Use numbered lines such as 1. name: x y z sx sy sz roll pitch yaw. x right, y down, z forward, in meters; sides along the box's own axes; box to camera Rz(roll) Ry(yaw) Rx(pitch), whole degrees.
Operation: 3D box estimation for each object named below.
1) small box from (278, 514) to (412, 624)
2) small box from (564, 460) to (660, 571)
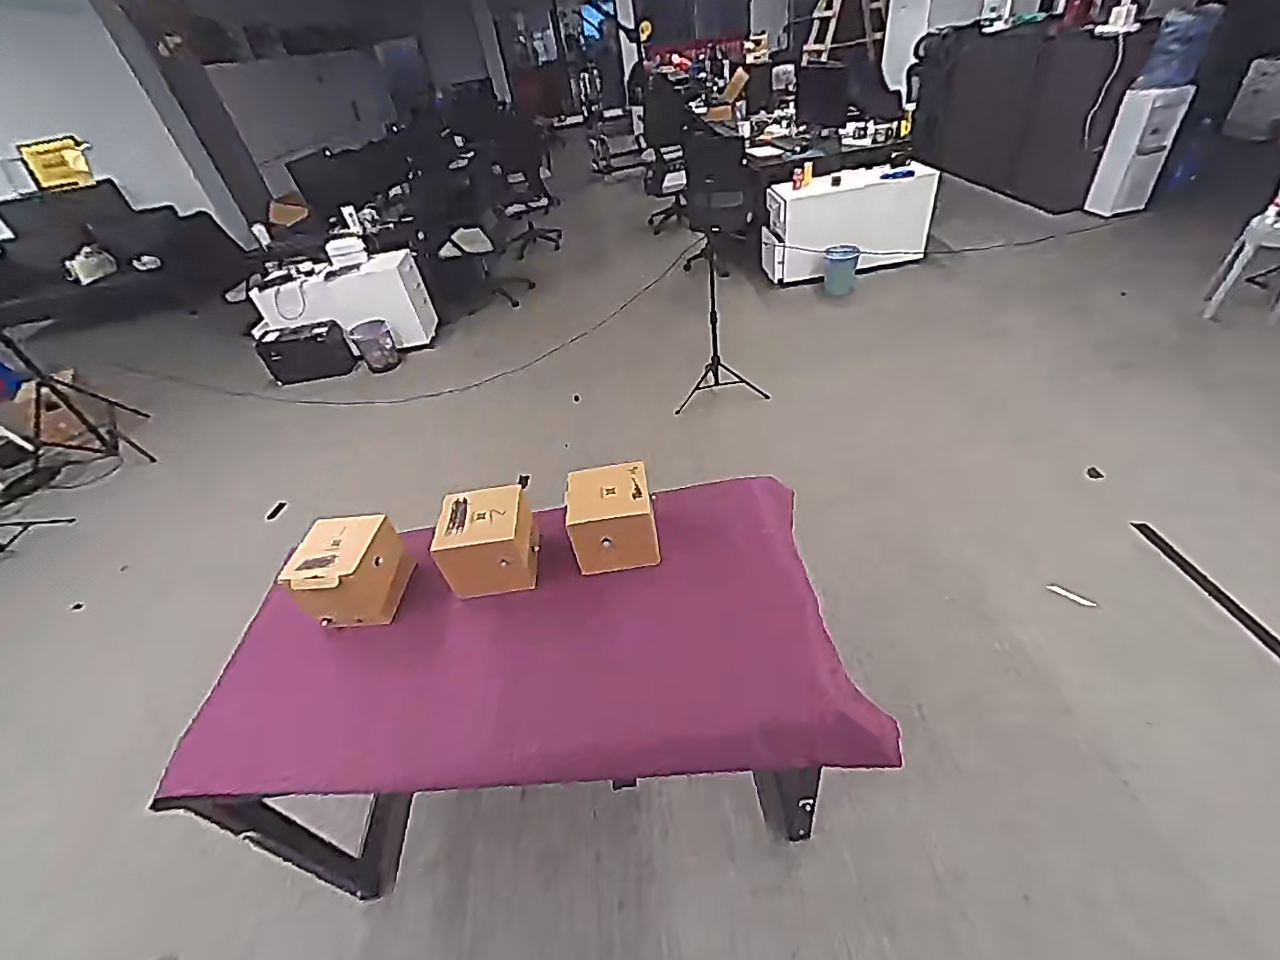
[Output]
1. small box: -0.627 0.199 1.178 0.168 0.176 0.179 -5 41 6
2. small box: -0.059 0.083 1.190 0.179 0.176 0.168 -9 43 3
